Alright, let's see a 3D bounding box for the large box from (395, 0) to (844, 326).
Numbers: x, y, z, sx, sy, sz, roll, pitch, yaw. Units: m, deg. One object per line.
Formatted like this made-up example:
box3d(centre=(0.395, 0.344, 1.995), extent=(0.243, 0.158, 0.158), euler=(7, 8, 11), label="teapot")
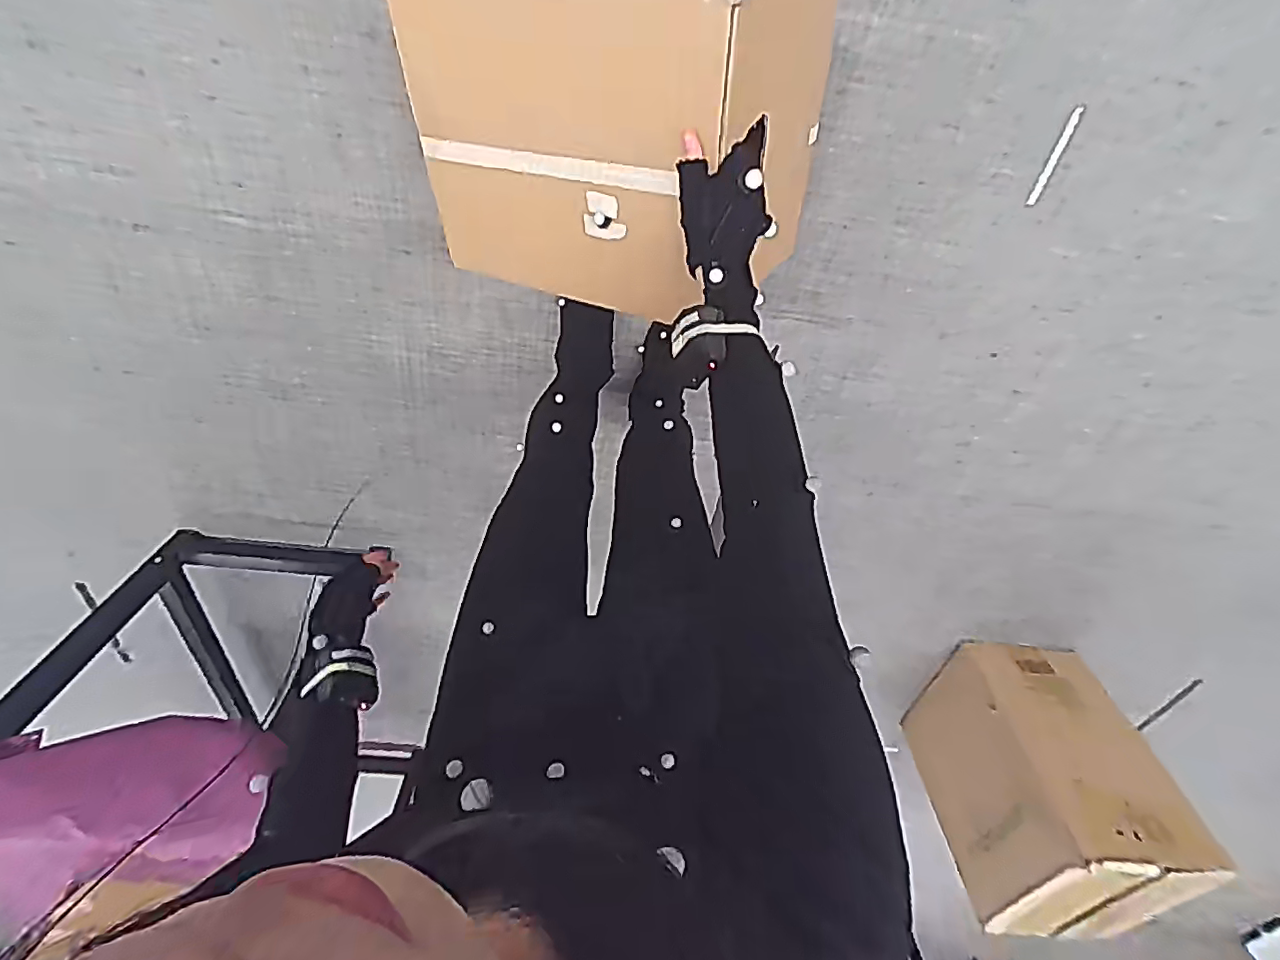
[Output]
box3d(centre=(-0.011, -0.433, 0.676), extent=(0.408, 0.320, 0.320), euler=(20, 138, 22), label="large box")
